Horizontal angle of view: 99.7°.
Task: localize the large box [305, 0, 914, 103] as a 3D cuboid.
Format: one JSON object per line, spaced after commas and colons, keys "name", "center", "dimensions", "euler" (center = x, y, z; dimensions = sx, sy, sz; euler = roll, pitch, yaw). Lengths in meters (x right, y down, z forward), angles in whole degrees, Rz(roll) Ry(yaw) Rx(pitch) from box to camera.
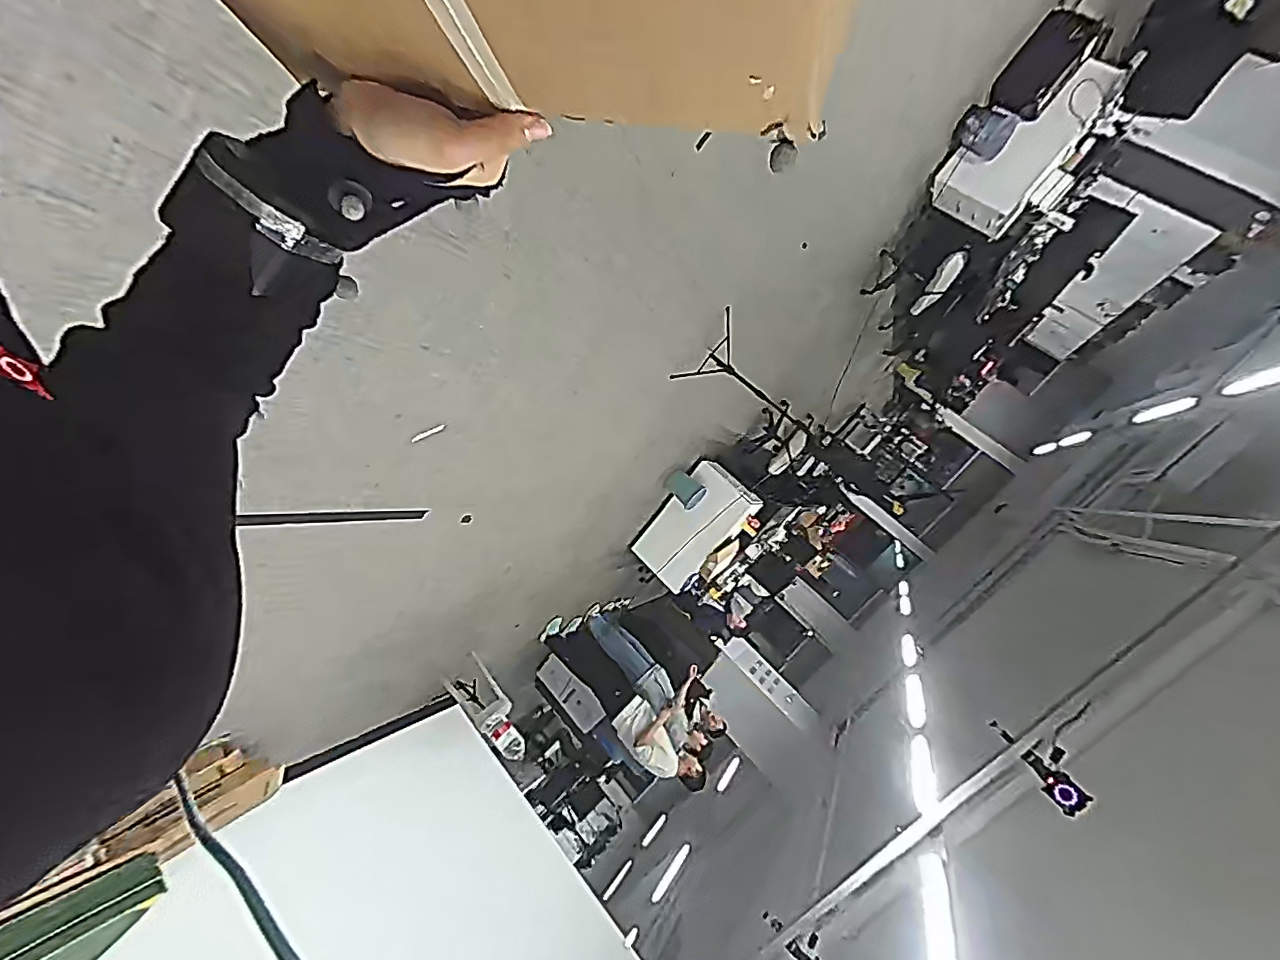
{"name": "large box", "center": [-0.037, -0.383, 0.105], "dimensions": [0.408, 0.320, 0.320], "euler": [34, 76, -72]}
